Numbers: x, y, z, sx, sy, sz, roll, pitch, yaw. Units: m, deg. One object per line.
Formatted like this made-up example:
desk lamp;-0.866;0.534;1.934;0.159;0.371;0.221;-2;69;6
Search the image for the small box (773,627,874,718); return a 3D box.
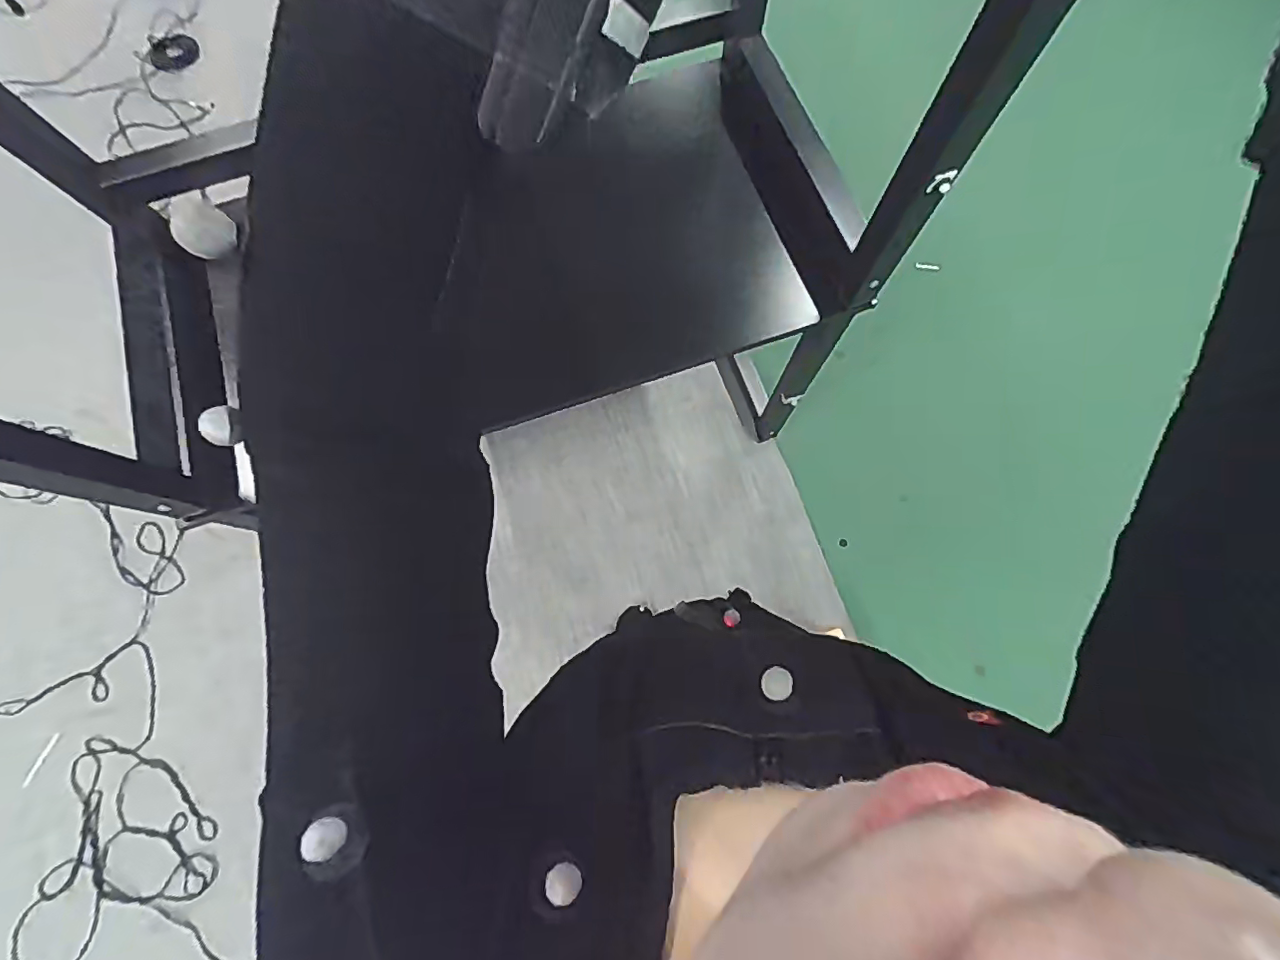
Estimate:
small box;0.451;0.482;1.369;0.179;0.176;0.168;-20;76;-3
